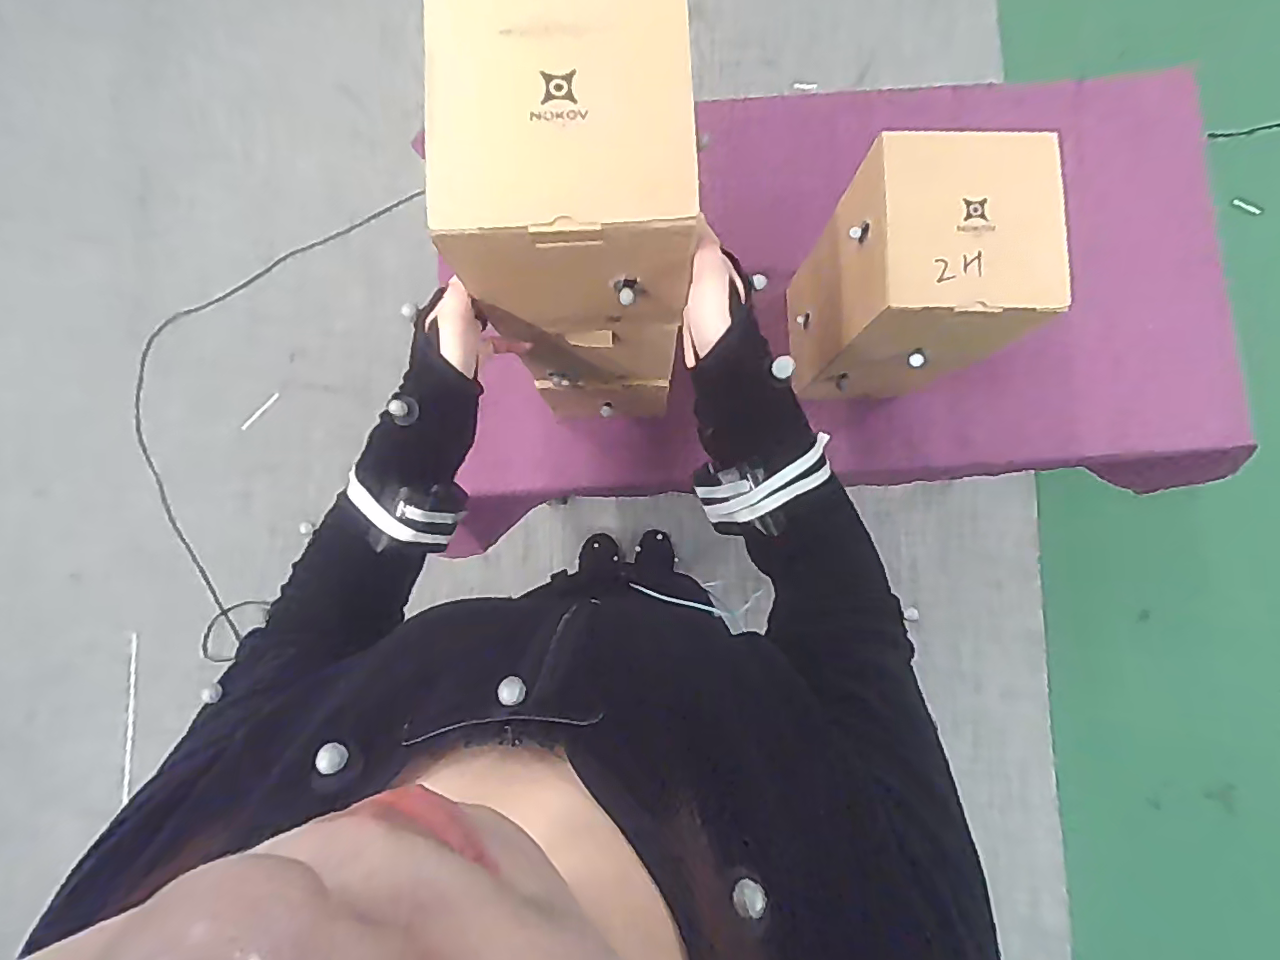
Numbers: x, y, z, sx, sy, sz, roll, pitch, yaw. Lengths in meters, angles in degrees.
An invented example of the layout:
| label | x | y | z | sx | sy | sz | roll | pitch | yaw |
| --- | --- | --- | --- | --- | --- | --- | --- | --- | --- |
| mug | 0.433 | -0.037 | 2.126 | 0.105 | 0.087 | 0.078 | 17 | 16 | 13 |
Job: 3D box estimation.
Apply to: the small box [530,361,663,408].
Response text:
| label | x | y | z | sx | sy | sz | roll | pitch | yaw |
| --- | --- | --- | --- | --- | --- | --- | --- | --- | --- |
| small box | -0.052 | -0.196 | 0.739 | 0.168 | 0.176 | 0.179 | 0 | 86 | -1 |

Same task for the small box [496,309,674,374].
| label | x | y | z | sx | sy | sz | roll | pitch | yaw |
| --- | --- | --- | --- | --- | --- | --- | --- | --- | --- |
| small box | -0.047 | -0.217 | 0.575 | 0.168 | 0.176 | 0.179 | 1 | 84 | -1 |

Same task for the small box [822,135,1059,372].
| label | x | y | z | sx | sy | sz | roll | pitch | yaw |
| --- | --- | --- | --- | --- | --- | --- | --- | --- | --- |
| small box | 0.303 | -0.228 | 0.581 | 0.168 | 0.176 | 0.179 | 2 | 85 | 0 |

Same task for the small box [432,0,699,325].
| label | x | y | z | sx | sy | sz | roll | pitch | yaw |
| --- | --- | --- | --- | --- | --- | --- | --- | --- | --- |
| small box | -0.046 | -0.227 | 0.412 | 0.168 | 0.176 | 0.179 | -1 | 85 | -1 |
